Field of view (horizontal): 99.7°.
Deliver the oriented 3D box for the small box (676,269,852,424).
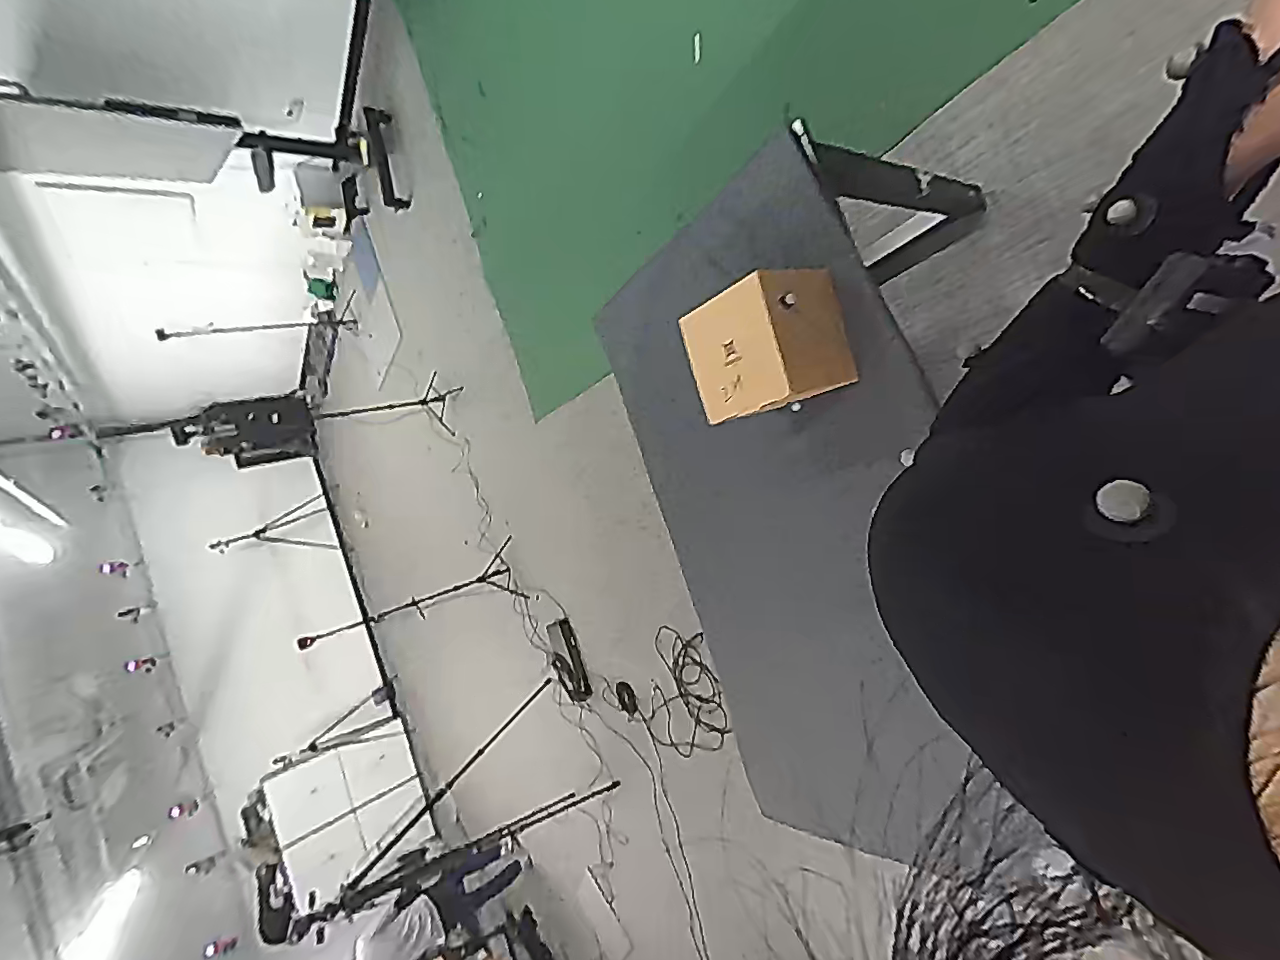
[{"bbox_3d":[0.187,-0.199,0.815,0.168,0.176,0.179,-16,92,54],"label":"small box"}]
